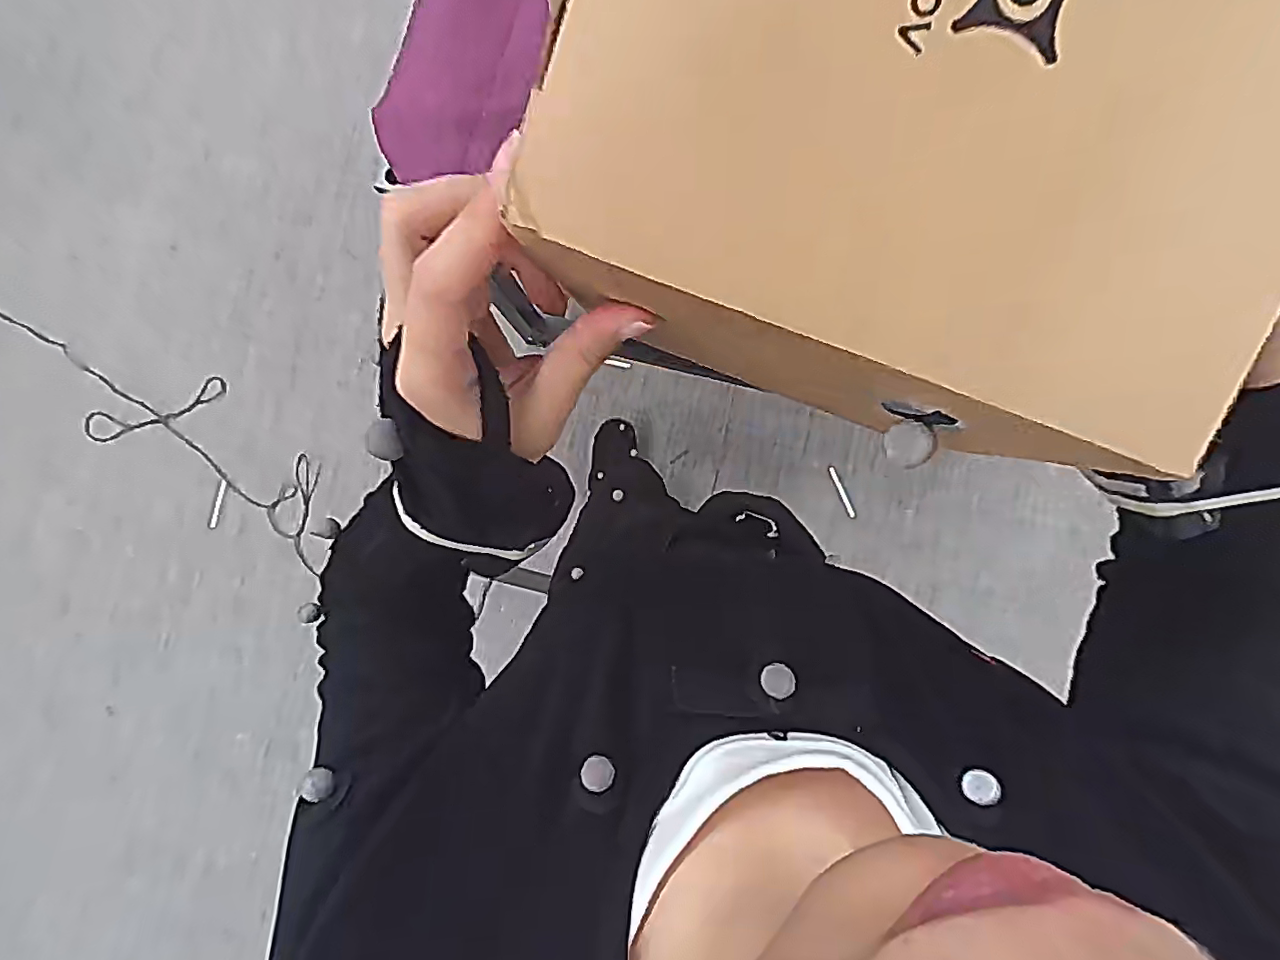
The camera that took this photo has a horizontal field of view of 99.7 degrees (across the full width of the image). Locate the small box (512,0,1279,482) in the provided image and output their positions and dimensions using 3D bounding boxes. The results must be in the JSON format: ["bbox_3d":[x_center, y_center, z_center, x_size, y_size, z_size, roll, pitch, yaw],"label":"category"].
[{"bbox_3d":[0.084,-0.115,0.195,0.179,0.176,0.168,22,98,2],"label":"small box"}]
